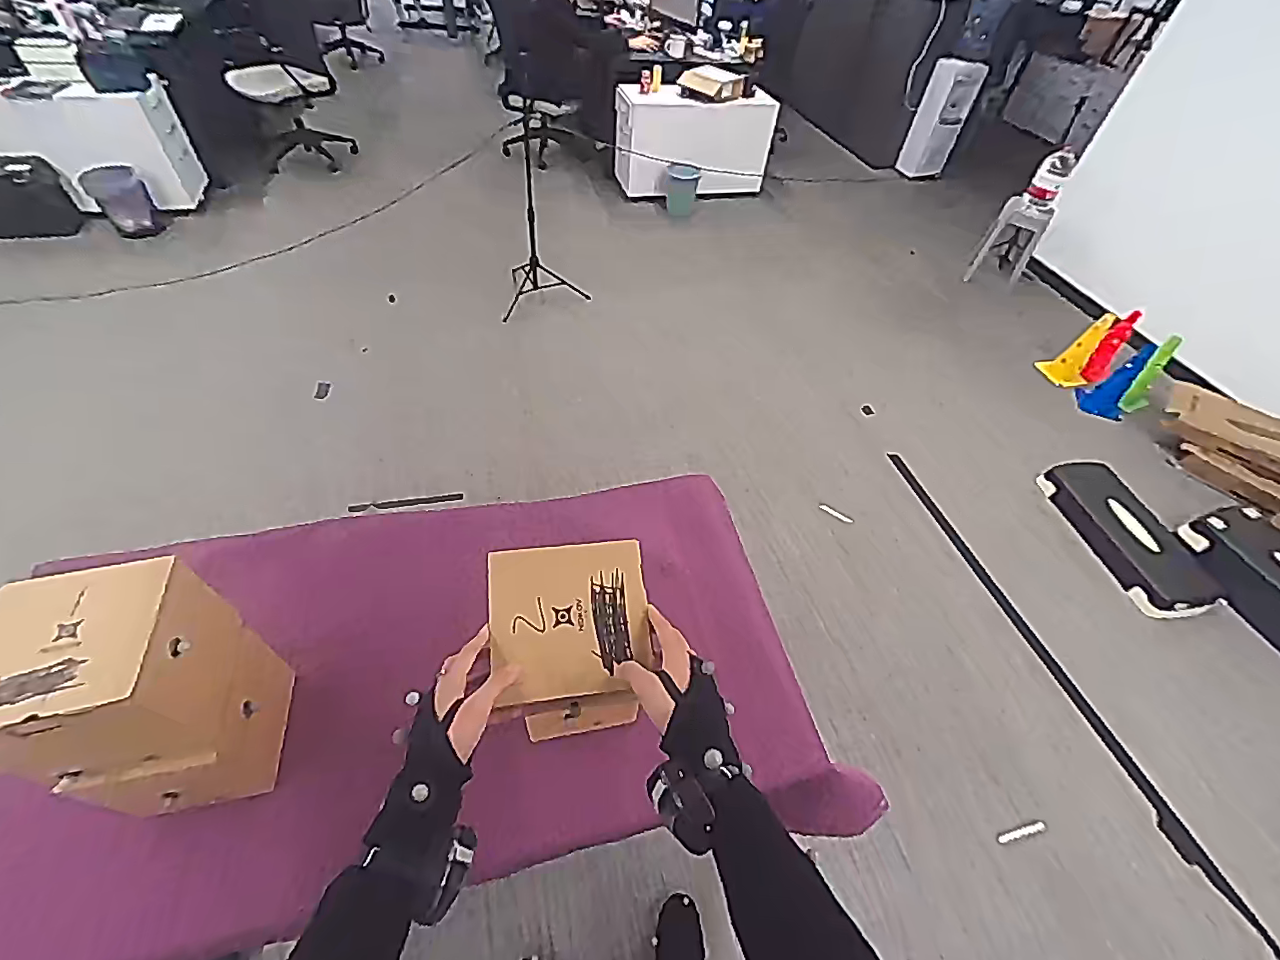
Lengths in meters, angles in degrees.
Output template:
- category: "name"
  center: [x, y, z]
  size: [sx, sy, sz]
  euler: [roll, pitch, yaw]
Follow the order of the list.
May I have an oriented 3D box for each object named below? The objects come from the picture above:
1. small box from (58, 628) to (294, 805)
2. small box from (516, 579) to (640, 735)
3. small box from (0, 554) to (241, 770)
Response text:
- category: "small box"
  center: [-0.607, 0.328, 0.741]
  size: [0.168, 0.176, 0.179]
  euler: [-5, 51, -12]
- category: "small box"
  center: [-0.098, 0.280, 0.842]
  size: [0.168, 0.176, 0.179]
  euler: [-6, 50, -11]
- category: "small box"
  center: [-0.599, 0.214, 0.623]
  size: [0.168, 0.176, 0.179]
  euler: [-9, 51, -14]
